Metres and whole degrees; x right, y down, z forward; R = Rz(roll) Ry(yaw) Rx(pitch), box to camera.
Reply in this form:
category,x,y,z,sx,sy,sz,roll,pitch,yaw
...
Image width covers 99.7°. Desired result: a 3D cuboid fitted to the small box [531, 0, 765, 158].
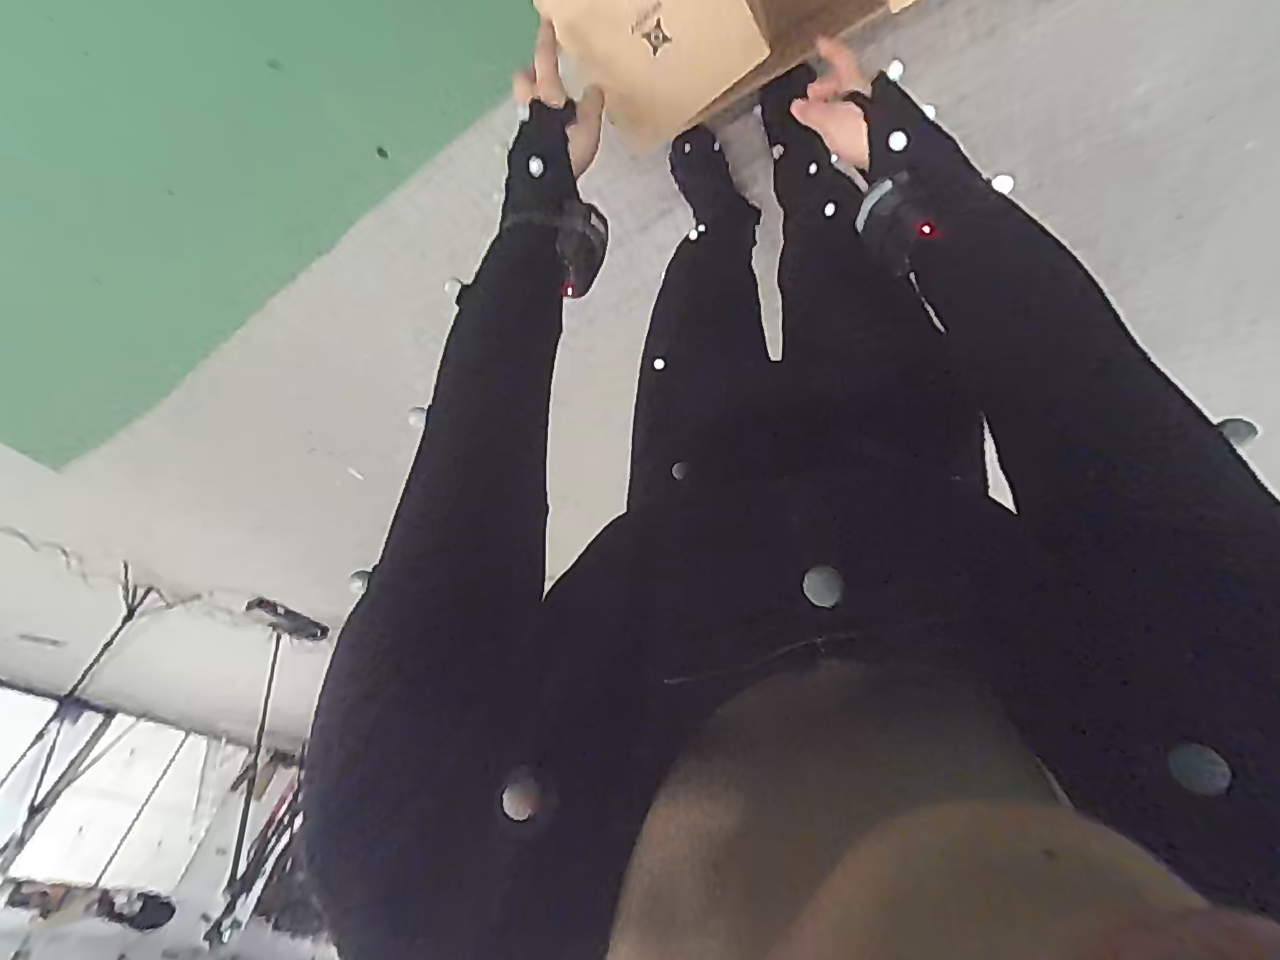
category,x,y,z,sx,sy,sz,roll,pitch,yaw
small box,0.017,-0.498,0.570,0.168,0.176,0.179,-23,133,31
